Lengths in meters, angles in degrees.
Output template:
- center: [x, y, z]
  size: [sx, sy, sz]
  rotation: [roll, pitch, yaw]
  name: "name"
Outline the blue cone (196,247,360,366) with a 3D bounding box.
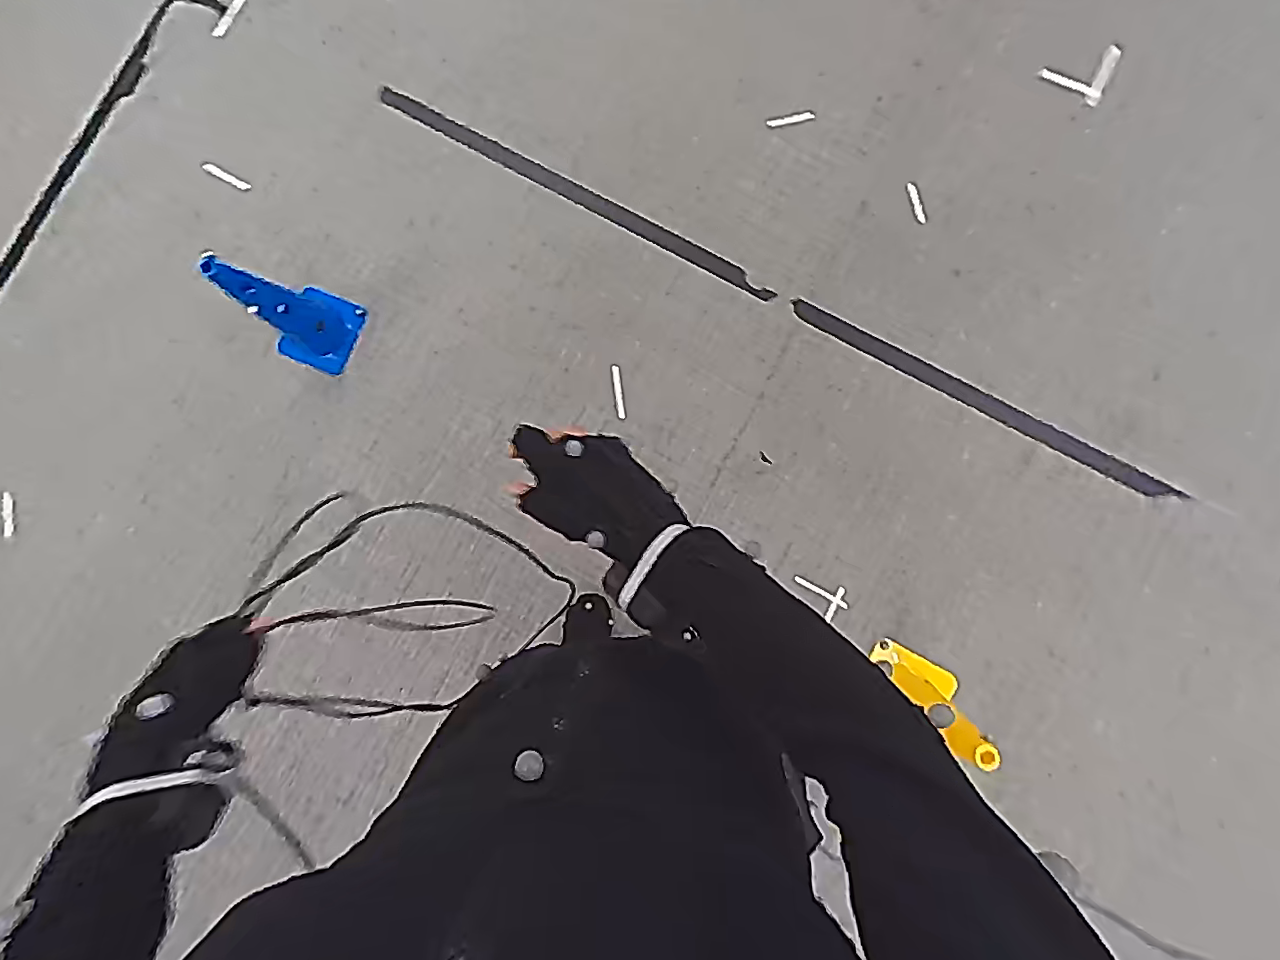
- center: [-0.865, -0.423, 1.268]
  size: [0.193, 0.380, 0.192]
  rotation: [24, 86, 6]
  name: "blue cone"
